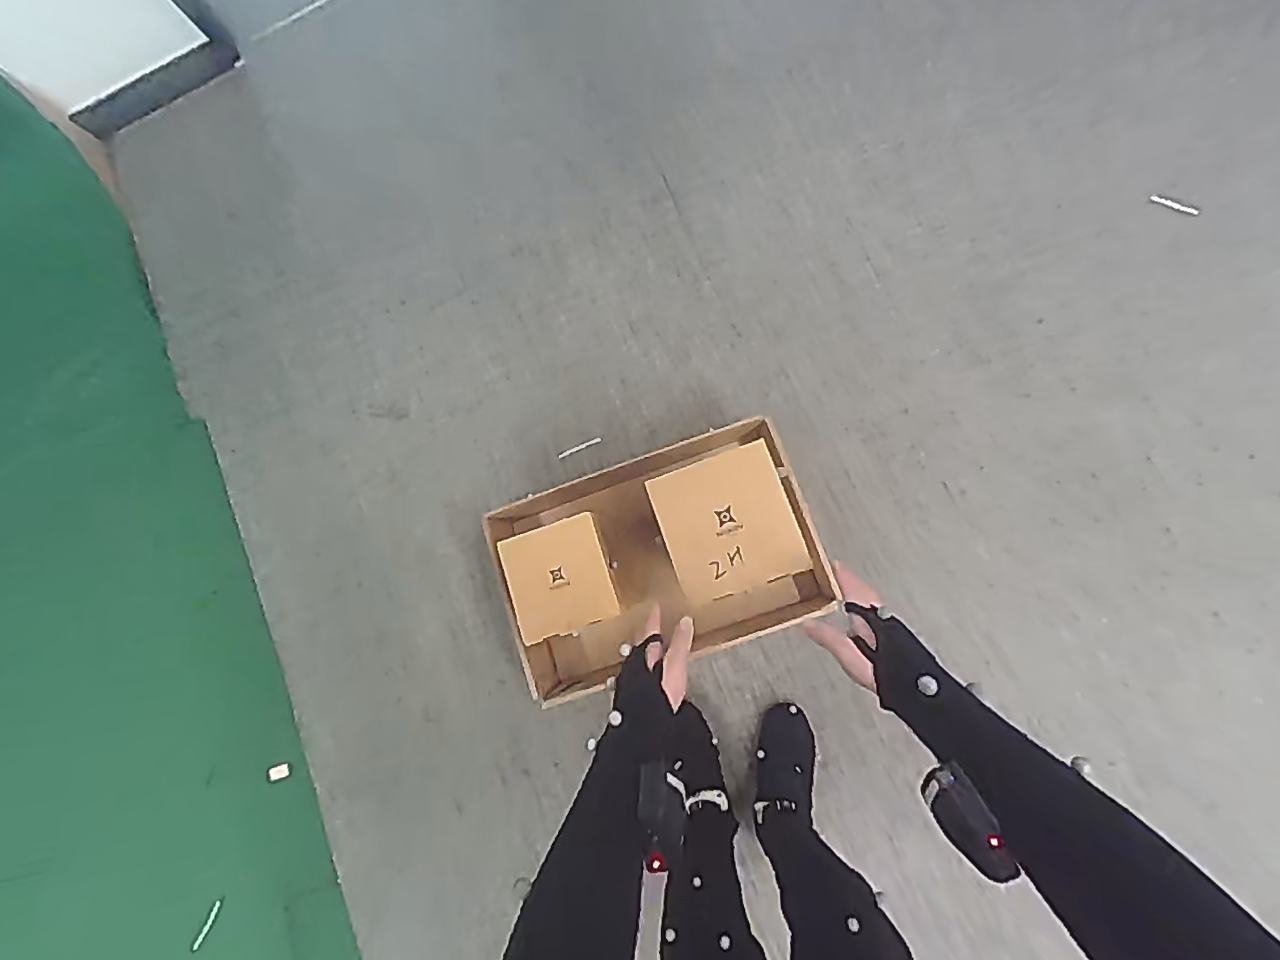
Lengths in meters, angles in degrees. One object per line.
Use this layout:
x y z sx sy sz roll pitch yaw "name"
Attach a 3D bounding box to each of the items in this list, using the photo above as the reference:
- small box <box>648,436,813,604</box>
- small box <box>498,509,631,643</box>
0.120 0.060 0.757 0.168 0.176 0.179 -20 81 6 "small box"
-0.124 0.165 0.940 0.168 0.176 0.179 -19 80 3 "small box"
